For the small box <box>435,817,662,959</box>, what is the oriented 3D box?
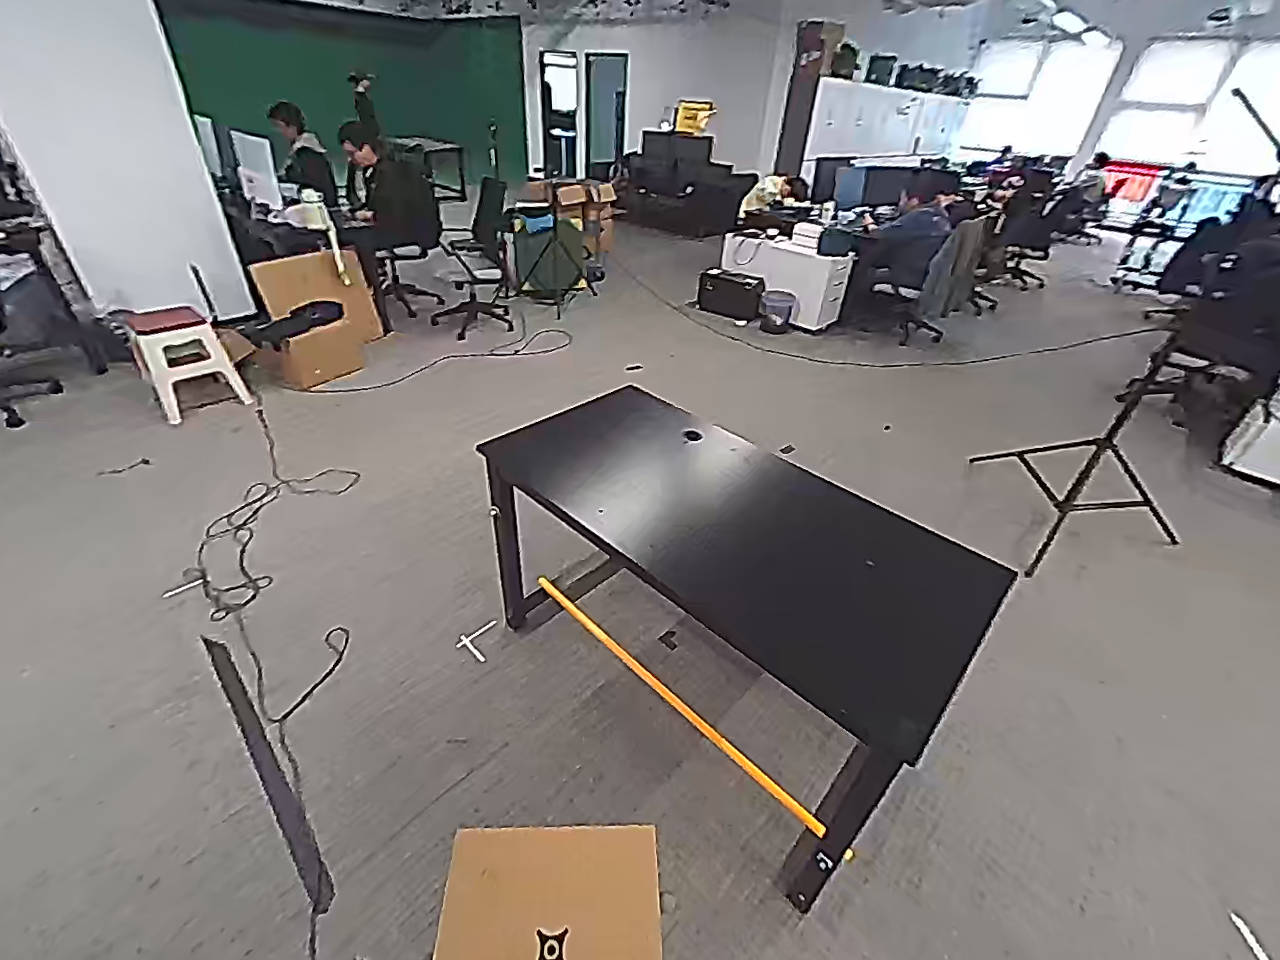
[{"bbox_3d":[-0.072,0.403,0.441,0.168,0.176,0.179,2,41,-5],"label":"small box"}]
